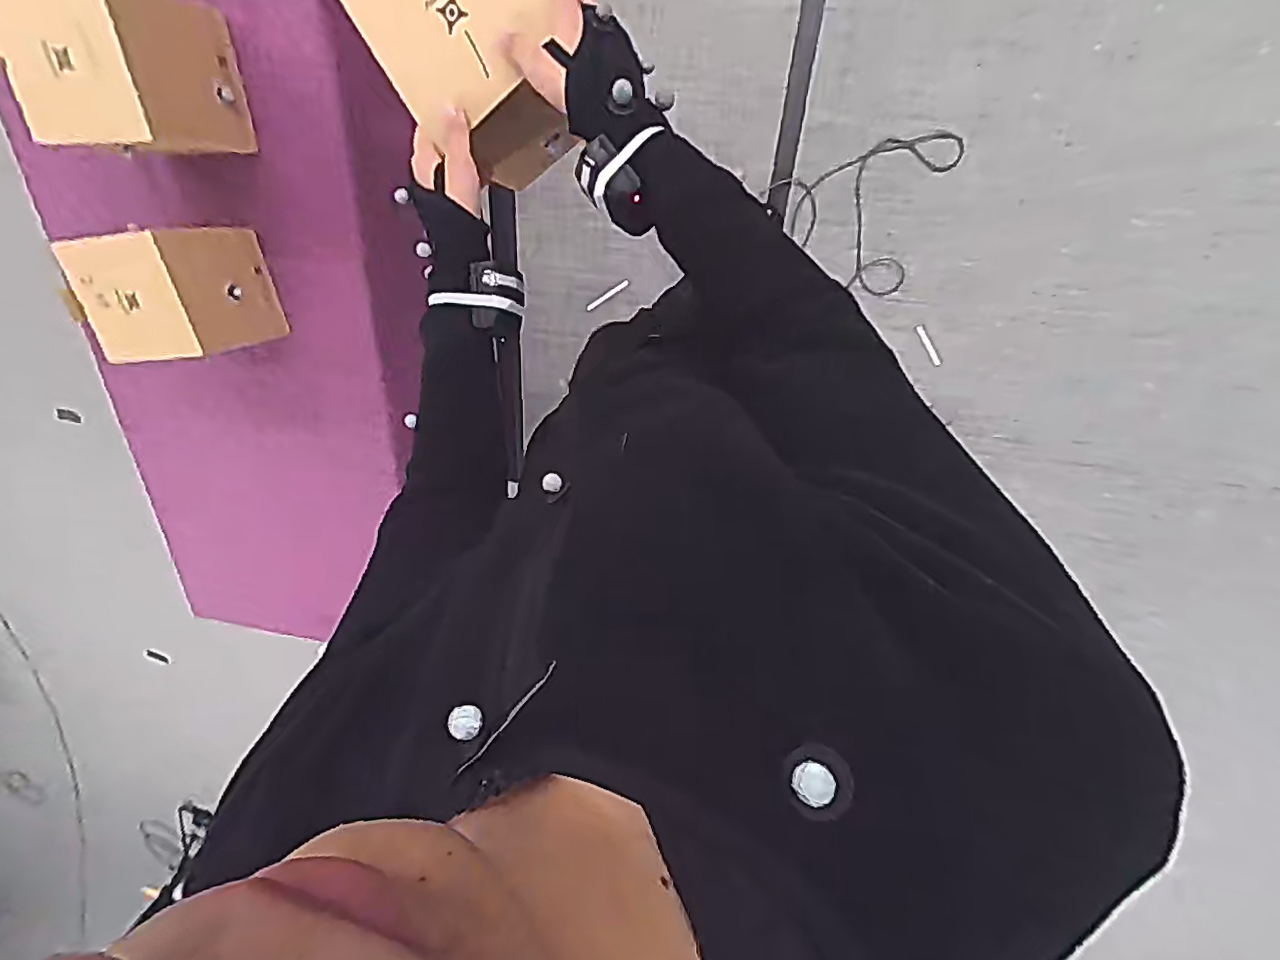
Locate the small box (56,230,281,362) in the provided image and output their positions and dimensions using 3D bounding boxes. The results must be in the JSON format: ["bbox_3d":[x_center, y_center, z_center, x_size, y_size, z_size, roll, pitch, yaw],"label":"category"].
[{"bbox_3d":[-0.695,-0.284,0.827,0.179,0.176,0.168,0,115,13],"label":"small box"}]

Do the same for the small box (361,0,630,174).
[{"bbox_3d":[-0.134,-0.439,0.528,0.168,0.176,0.179,-28,99,22],"label":"small box"}]

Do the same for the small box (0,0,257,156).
[{"bbox_3d":[-0.655,-0.523,0.701,0.179,0.176,0.168,5,118,10],"label":"small box"}]
